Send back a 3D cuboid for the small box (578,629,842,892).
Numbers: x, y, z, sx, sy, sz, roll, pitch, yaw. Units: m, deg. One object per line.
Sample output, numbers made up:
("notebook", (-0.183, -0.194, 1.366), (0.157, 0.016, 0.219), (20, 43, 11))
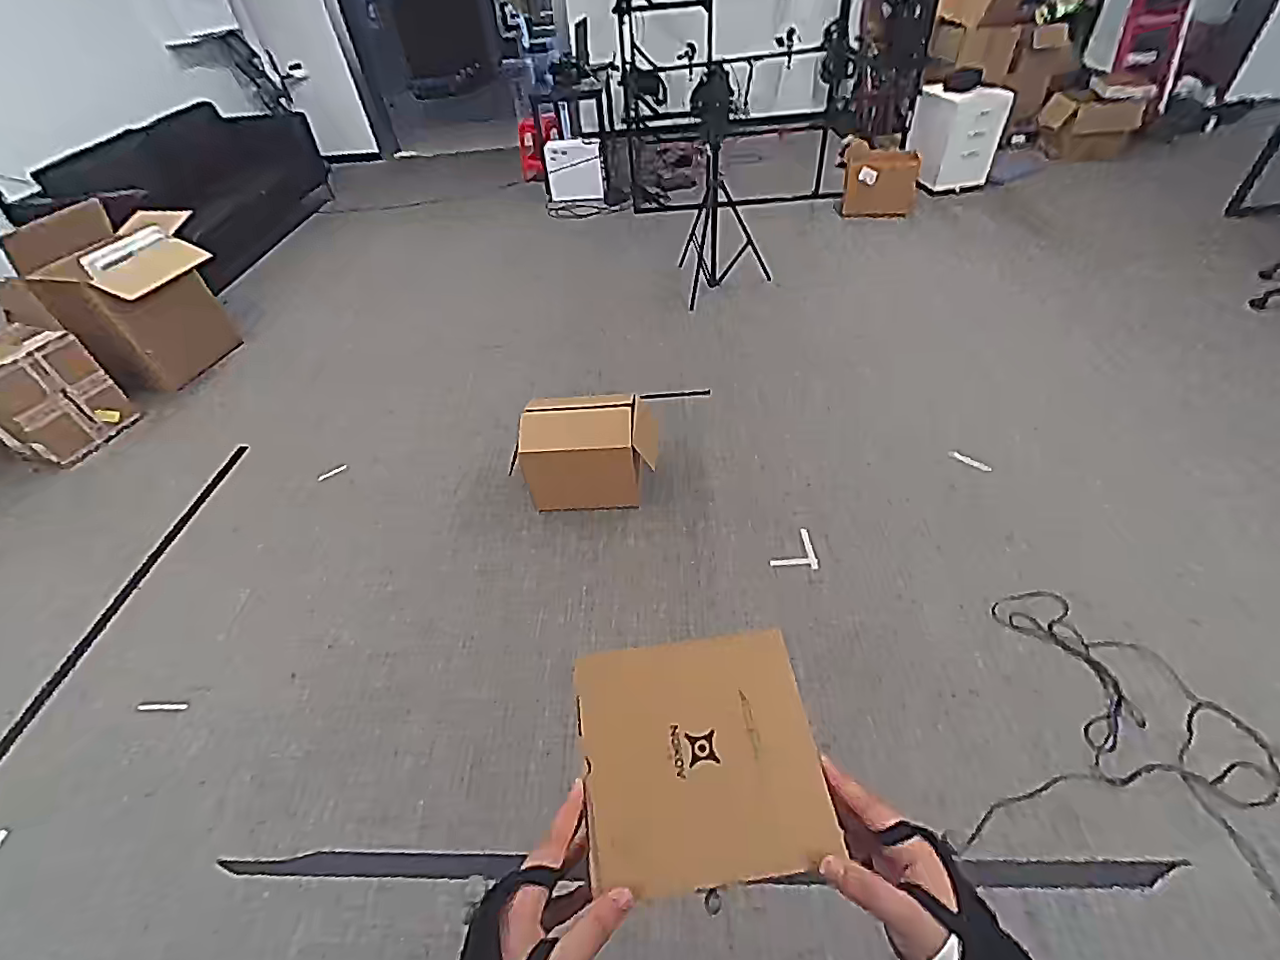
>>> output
("small box", (0.046, 0.250, 0.477), (0.179, 0.176, 0.168), (-7, 55, -4))
